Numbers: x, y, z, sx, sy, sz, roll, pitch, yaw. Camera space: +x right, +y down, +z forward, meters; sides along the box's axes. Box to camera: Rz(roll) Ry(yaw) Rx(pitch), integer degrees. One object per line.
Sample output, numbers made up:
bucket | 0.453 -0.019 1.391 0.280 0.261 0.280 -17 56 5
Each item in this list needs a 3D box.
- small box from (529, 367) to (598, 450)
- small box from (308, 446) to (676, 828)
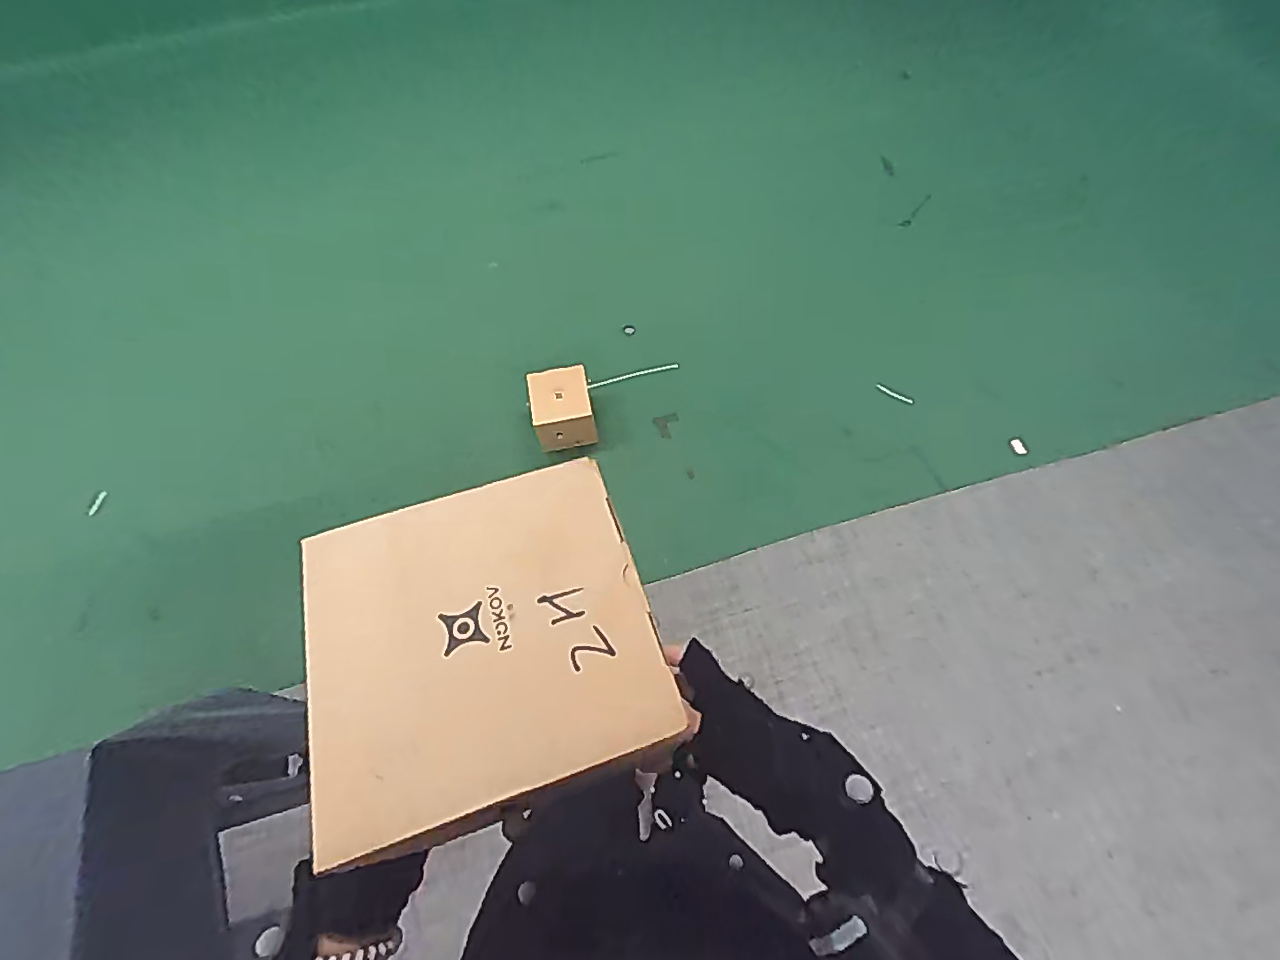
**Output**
small box | -0.221 -0.202 1.586 0.168 0.176 0.179 -11 65 -3
small box | -0.086 0.108 0.358 0.179 0.176 0.168 -16 61 -10
